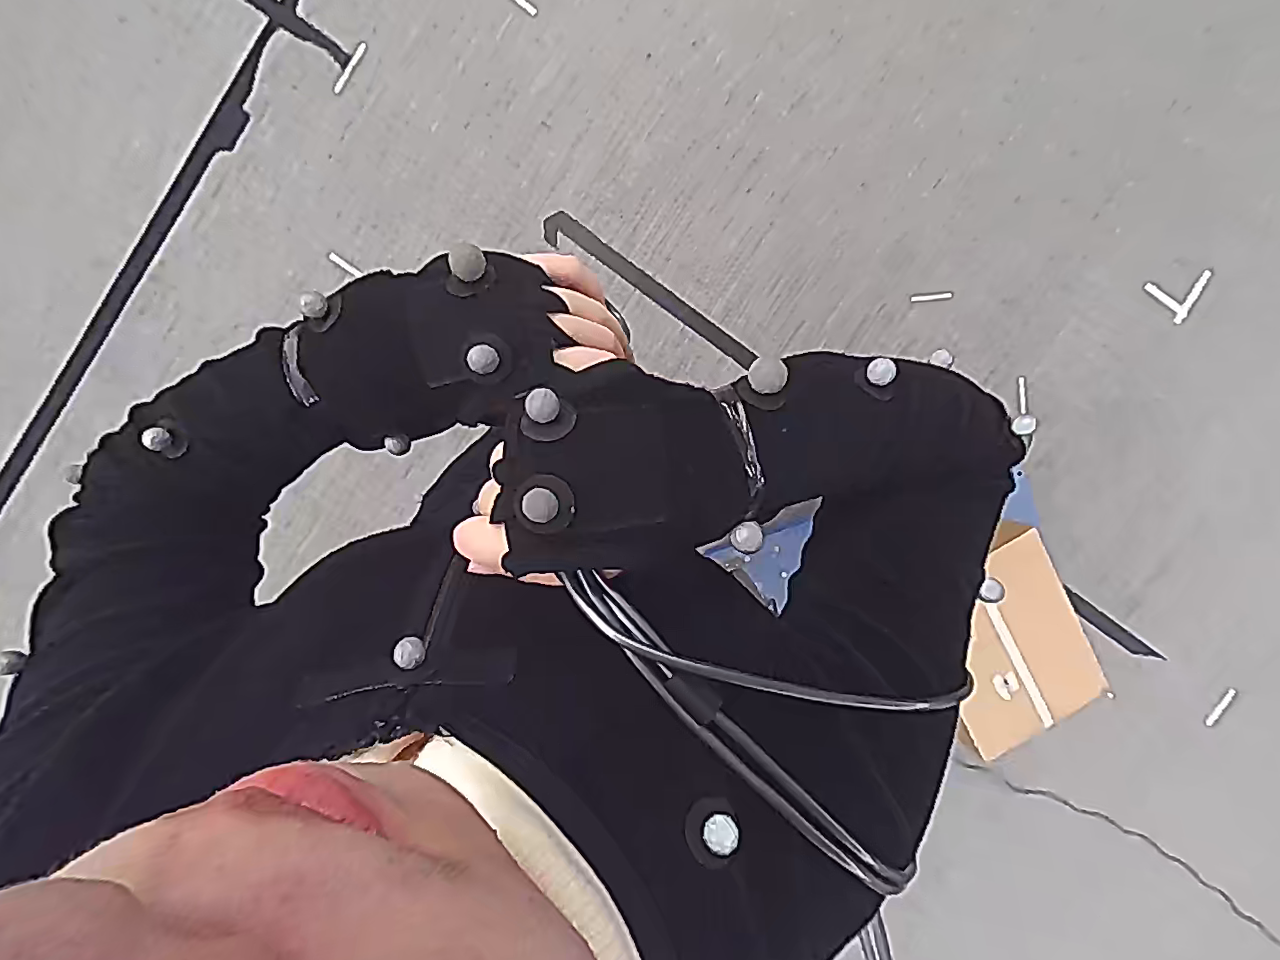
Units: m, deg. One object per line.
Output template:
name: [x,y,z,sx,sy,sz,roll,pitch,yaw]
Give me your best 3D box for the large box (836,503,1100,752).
large box: [0.733,0.314,1.260,0.320,0.320,0.408,-29,98,-1]
